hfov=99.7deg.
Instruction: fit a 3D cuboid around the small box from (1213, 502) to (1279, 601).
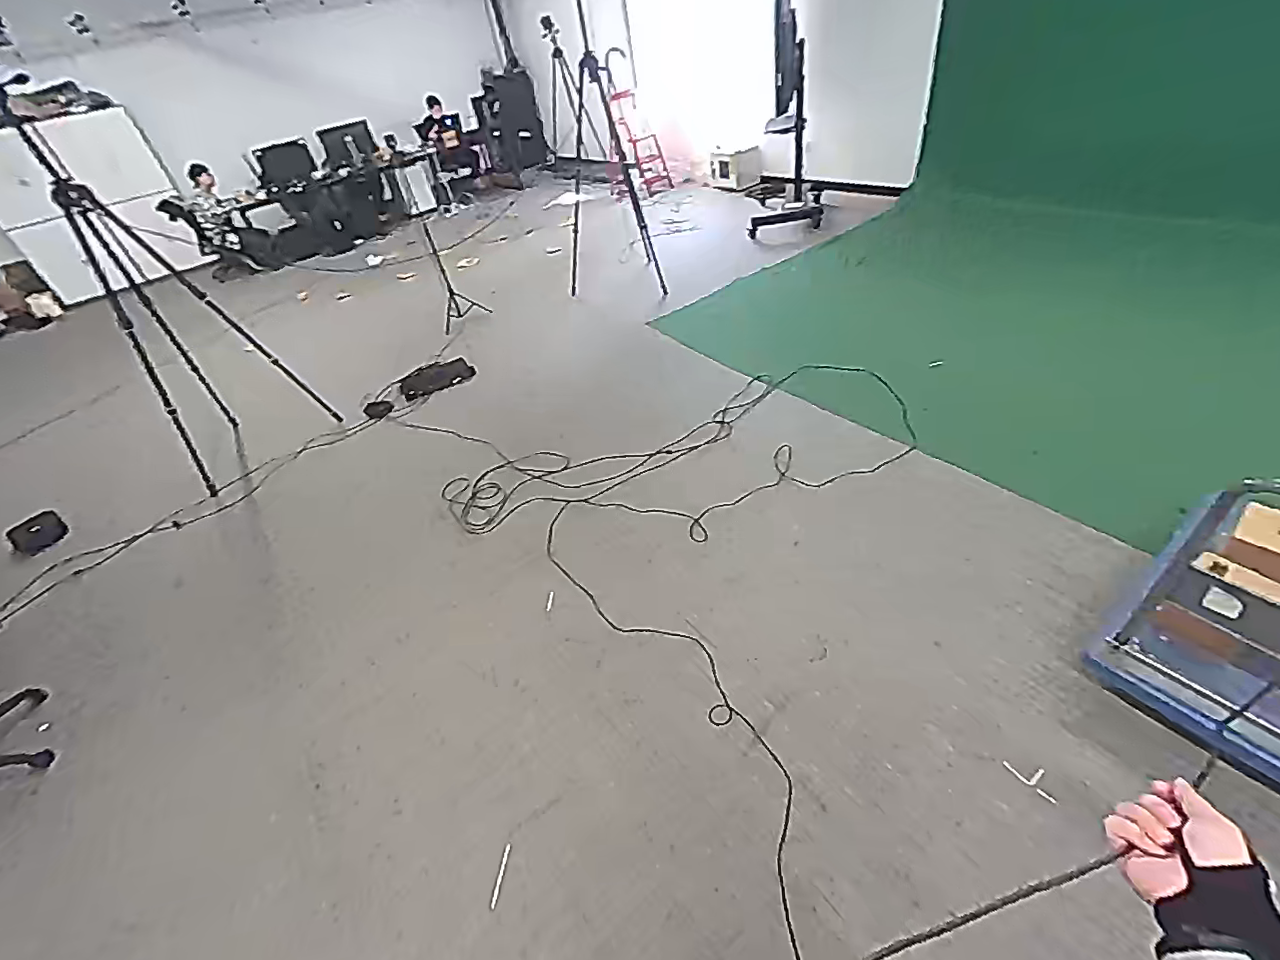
[{"bbox_3d":[1.722,0.199,1.469,0.179,0.176,0.168,-35,45,-24],"label":"small box"}]
